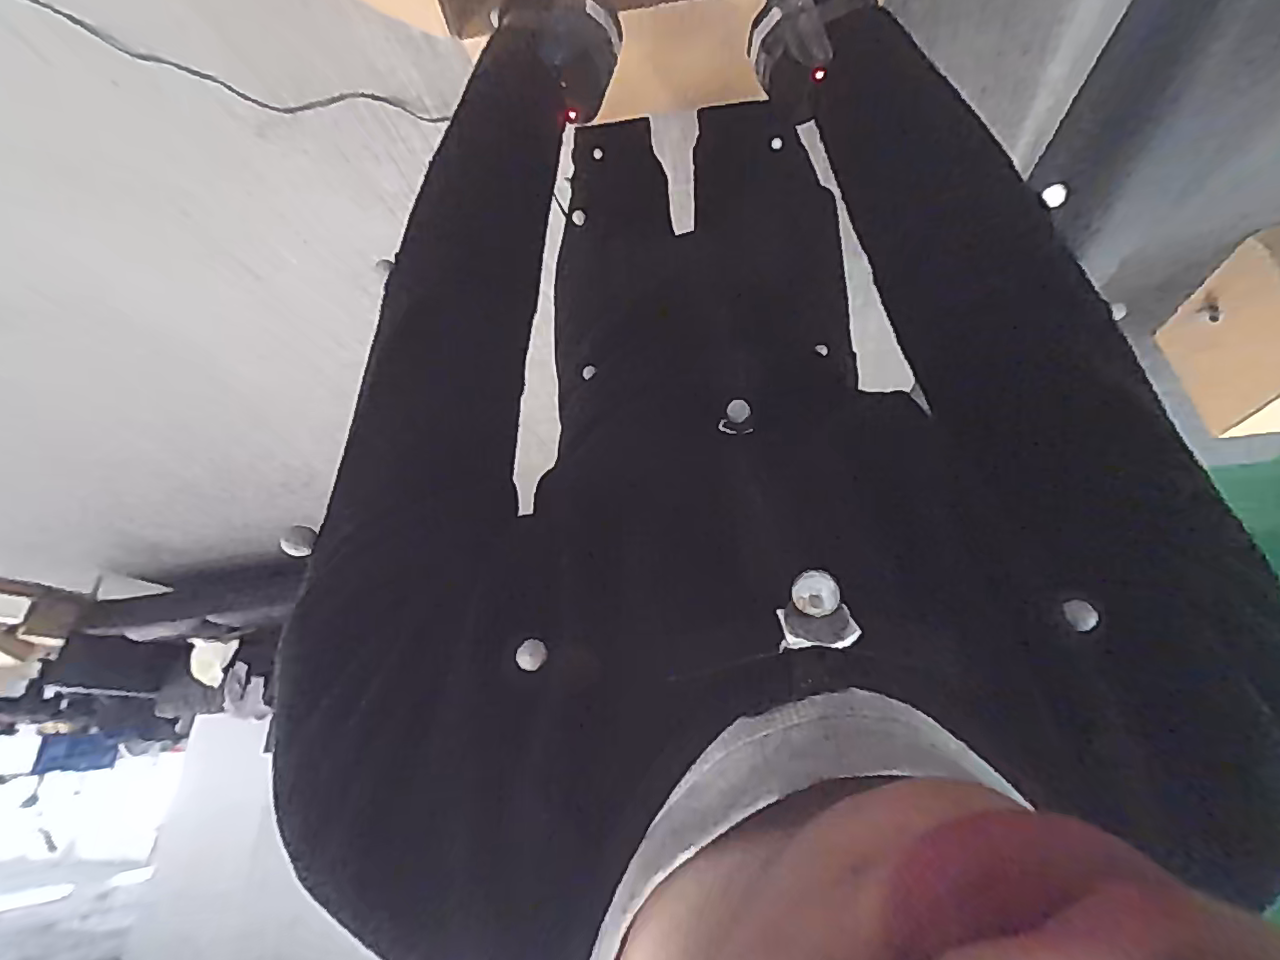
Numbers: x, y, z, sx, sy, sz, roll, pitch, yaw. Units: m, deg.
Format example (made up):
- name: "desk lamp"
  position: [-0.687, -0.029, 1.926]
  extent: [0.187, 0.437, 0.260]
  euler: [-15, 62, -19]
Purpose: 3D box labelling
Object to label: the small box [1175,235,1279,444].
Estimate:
- name: "small box"
  position: [0.766, -0.161, 0.605]
  extent: [0.168, 0.176, 0.179]
  euler: [-7, 153, 10]
